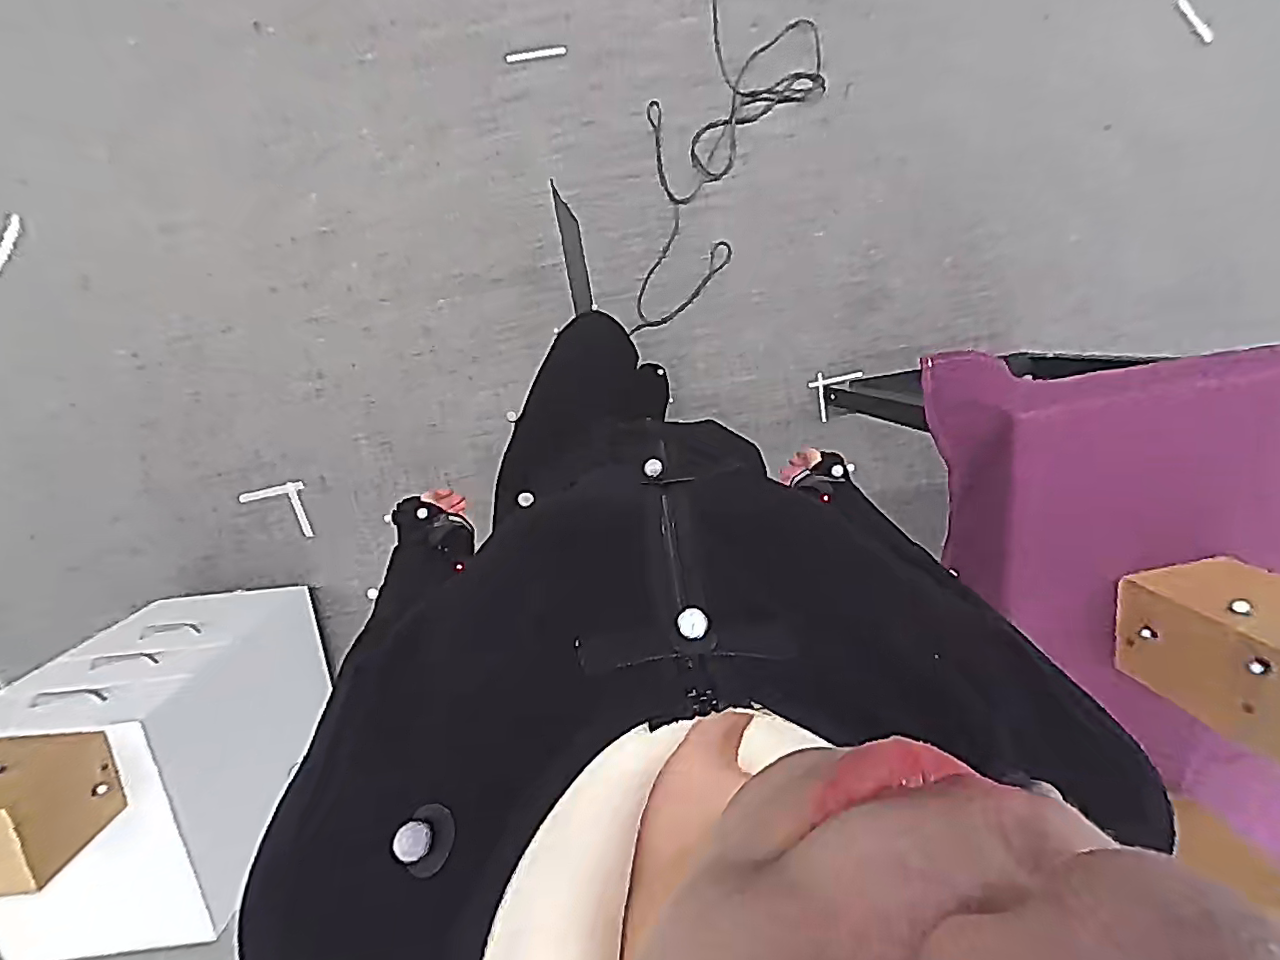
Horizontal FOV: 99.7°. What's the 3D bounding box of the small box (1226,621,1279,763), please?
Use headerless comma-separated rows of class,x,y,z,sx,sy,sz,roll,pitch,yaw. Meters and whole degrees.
small box,0.867,0.272,0.642,0.179,0.176,0.168,-12,106,-1

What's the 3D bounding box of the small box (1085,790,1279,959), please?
small box,0.904,0.665,0.914,0.179,0.176,0.168,-10,105,-2

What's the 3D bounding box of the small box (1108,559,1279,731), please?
small box,0.855,0.232,0.800,0.179,0.176,0.168,-11,105,-1
